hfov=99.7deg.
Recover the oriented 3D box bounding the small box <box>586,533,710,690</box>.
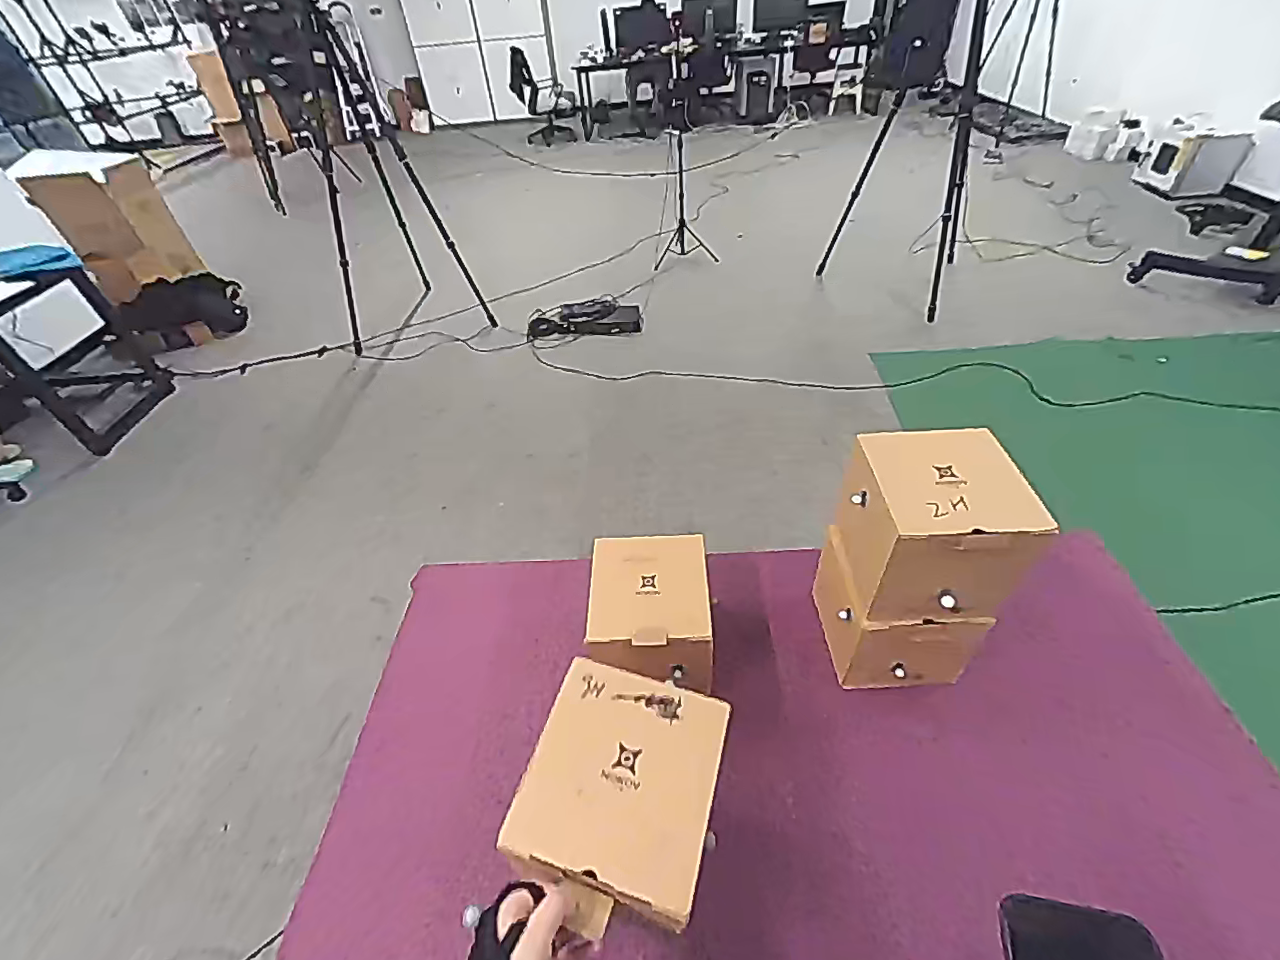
[{"bbox_3d":[0.018,0.200,0.809,0.168,0.176,0.179,-2,44,3],"label":"small box"}]

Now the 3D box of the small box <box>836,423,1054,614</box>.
[{"bbox_3d":[0.359,0.049,0.684,0.168,0.176,0.179,-3,45,4],"label":"small box"}]

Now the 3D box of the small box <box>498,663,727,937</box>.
[{"bbox_3d":[-0.016,0.321,0.543,0.168,0.176,0.179,13,46,12],"label":"small box"}]

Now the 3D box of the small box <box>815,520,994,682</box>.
[{"bbox_3d":[0.367,0.173,0.793,0.168,0.176,0.179,-5,44,2],"label":"small box"}]
